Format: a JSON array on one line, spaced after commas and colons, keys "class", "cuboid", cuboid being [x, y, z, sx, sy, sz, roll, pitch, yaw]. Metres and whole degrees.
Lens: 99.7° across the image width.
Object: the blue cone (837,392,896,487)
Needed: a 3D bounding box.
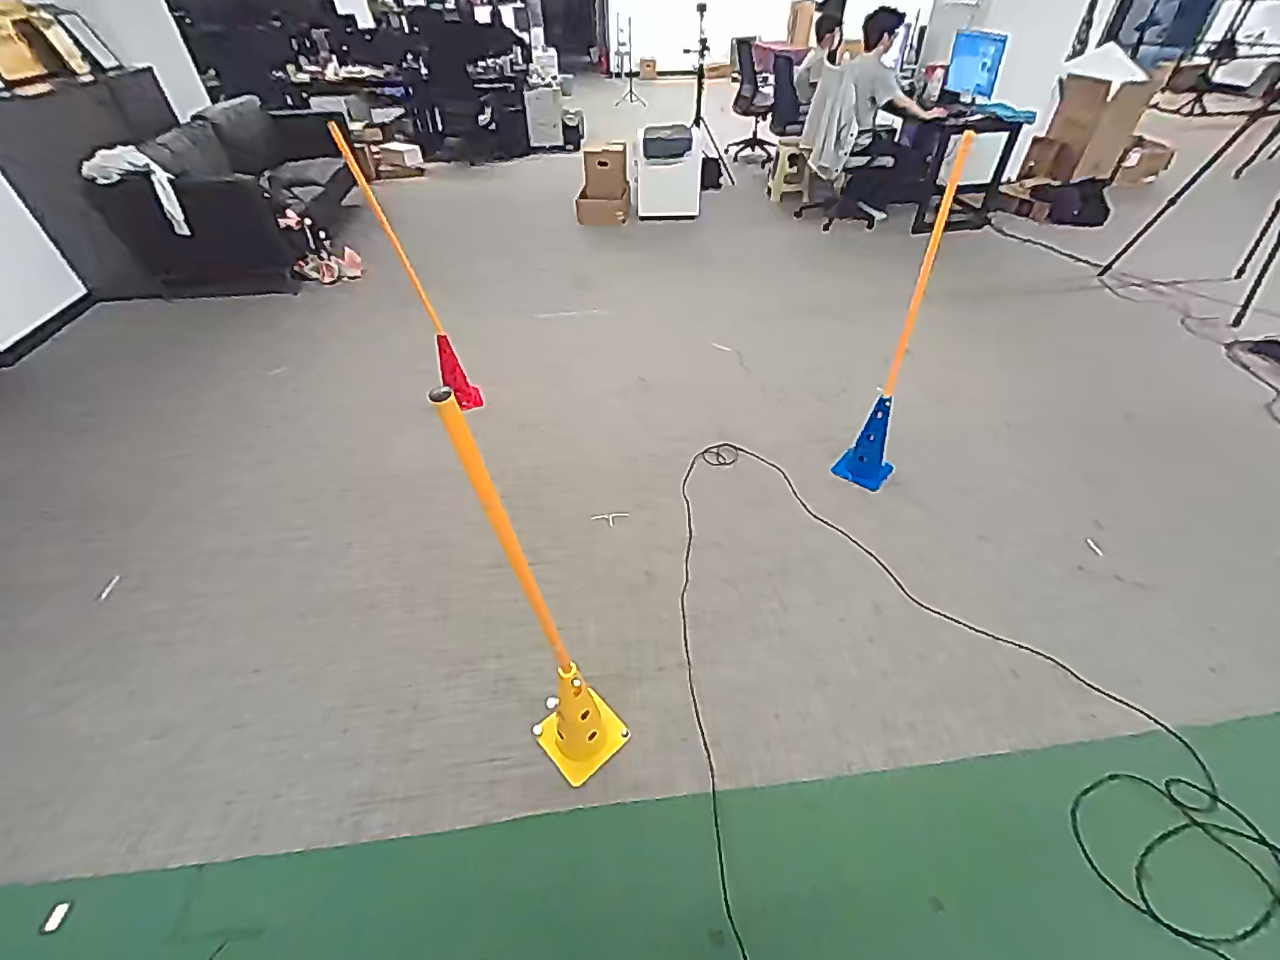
[{"class": "blue cone", "cuboid": [0.925, -0.178, 2.130, 0.192, 0.380, 0.193, 27, 48, 29]}]
